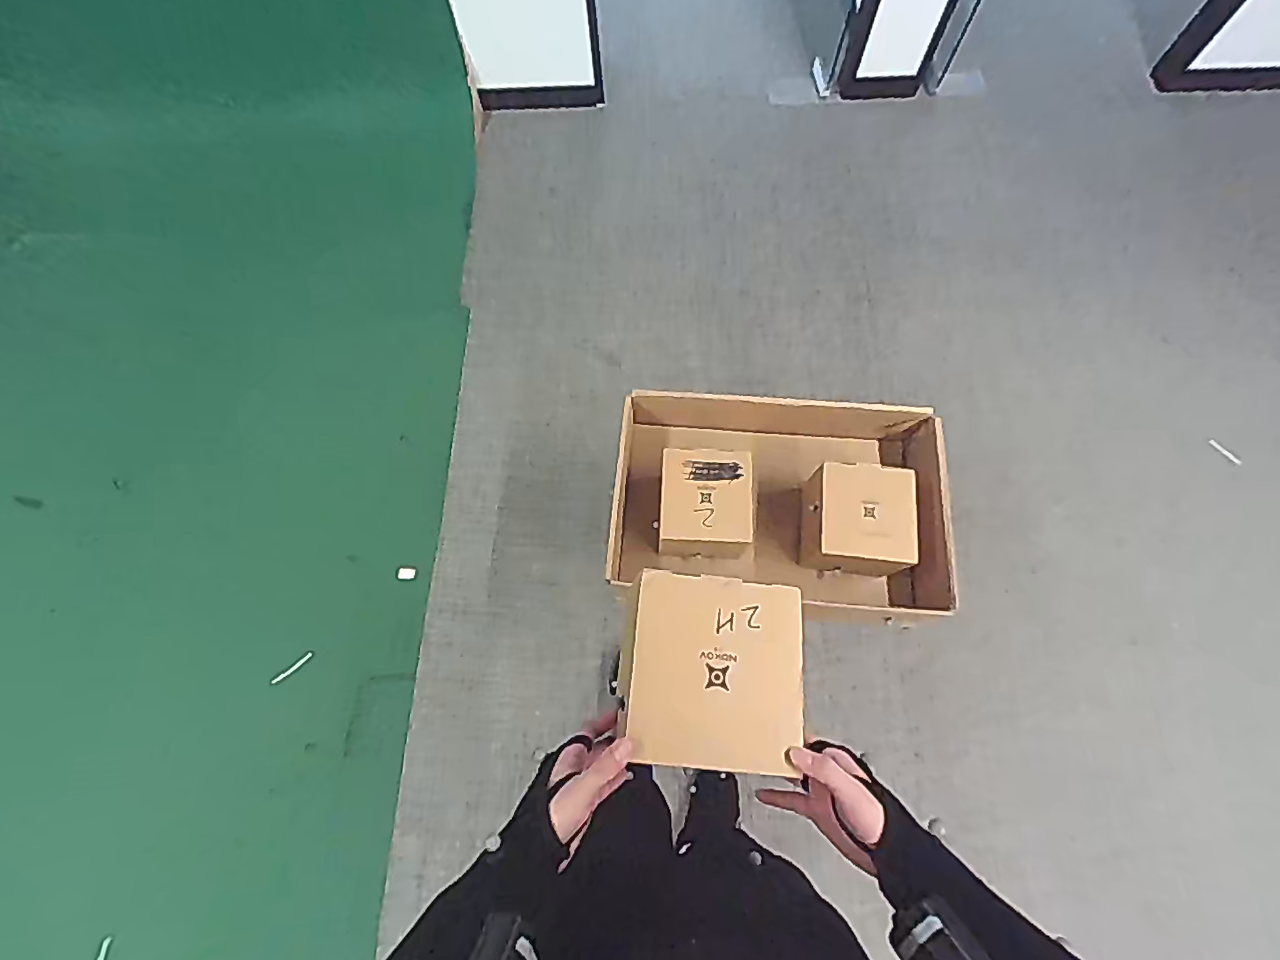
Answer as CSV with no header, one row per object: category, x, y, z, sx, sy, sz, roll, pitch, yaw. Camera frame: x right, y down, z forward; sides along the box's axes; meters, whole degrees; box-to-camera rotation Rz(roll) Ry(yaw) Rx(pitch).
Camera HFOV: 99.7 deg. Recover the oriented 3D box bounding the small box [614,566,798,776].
small box,0.063,0.205,0.588,0.168,0.176,0.179,7,68,-3
